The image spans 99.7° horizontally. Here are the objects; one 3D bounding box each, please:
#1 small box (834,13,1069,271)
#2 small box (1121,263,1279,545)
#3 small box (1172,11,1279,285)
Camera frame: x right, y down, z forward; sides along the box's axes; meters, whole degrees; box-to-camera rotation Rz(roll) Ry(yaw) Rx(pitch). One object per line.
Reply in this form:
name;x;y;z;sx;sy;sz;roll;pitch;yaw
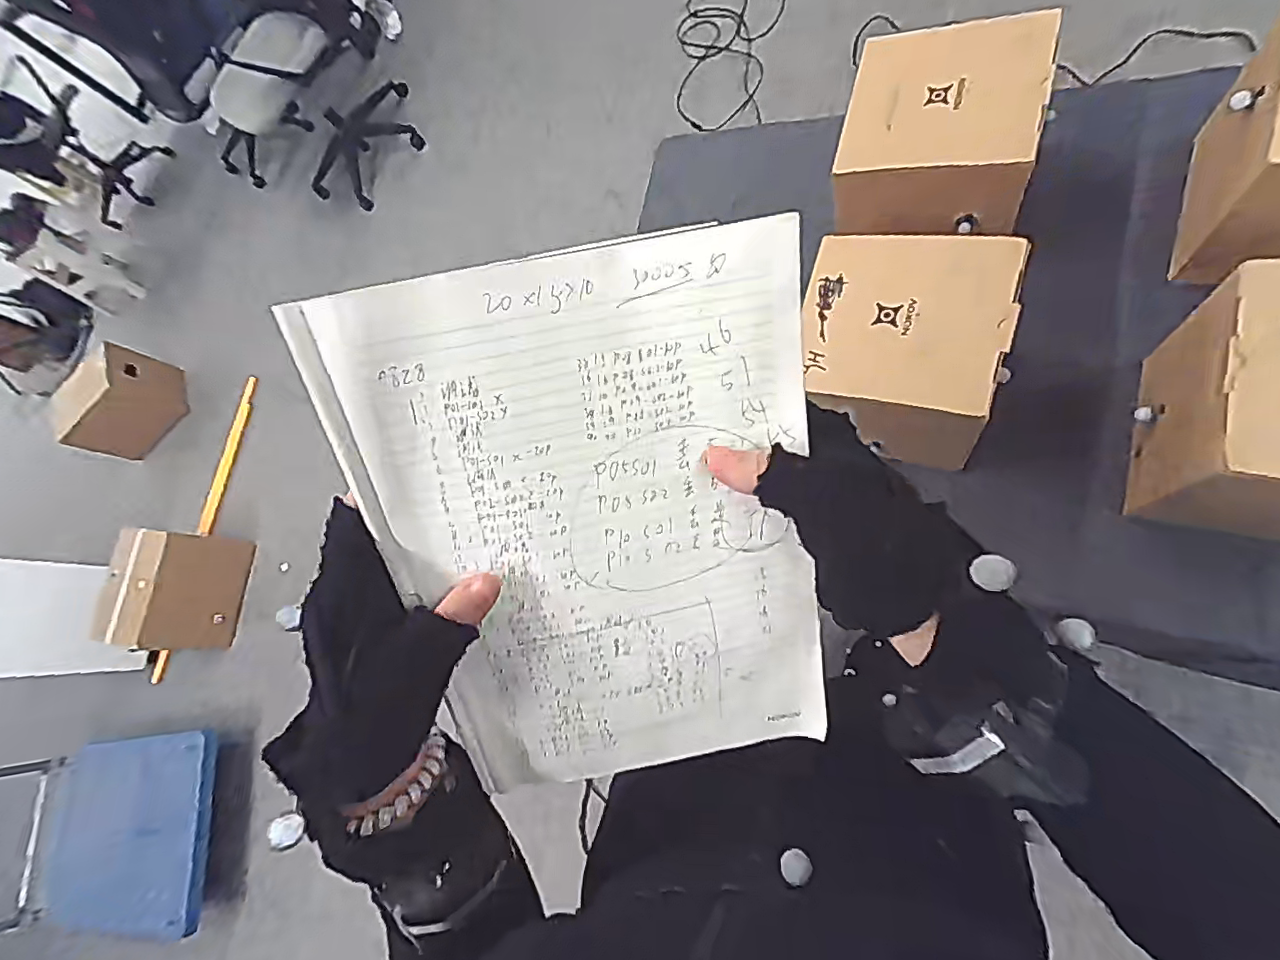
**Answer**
small box;0.326;-0.350;0.594;0.179;0.176;0.168;13;81;26
small box;0.526;-0.045;0.420;0.179;0.176;0.168;12;80;27
small box;0.600;-0.277;0.455;0.168;0.176;0.179;14;82;27
